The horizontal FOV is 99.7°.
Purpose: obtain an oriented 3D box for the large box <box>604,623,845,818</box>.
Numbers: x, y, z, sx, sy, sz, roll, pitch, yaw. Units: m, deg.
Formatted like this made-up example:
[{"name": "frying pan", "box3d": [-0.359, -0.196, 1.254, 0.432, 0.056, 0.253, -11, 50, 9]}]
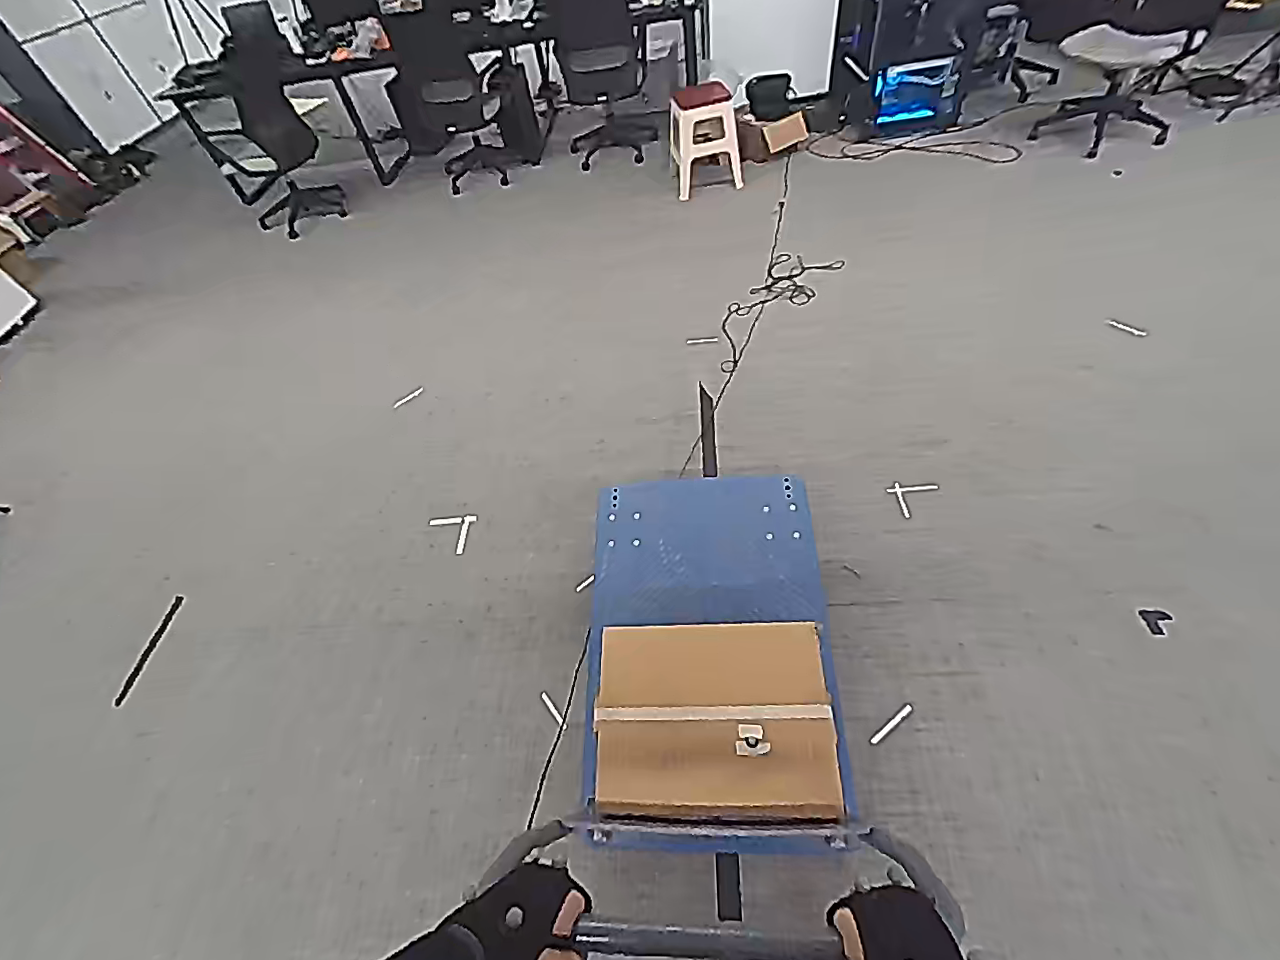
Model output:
[{"name": "large box", "box3d": [0.151, 0.492, 1.090, 0.408, 0.320, 0.320, -4, 60, 6]}]
